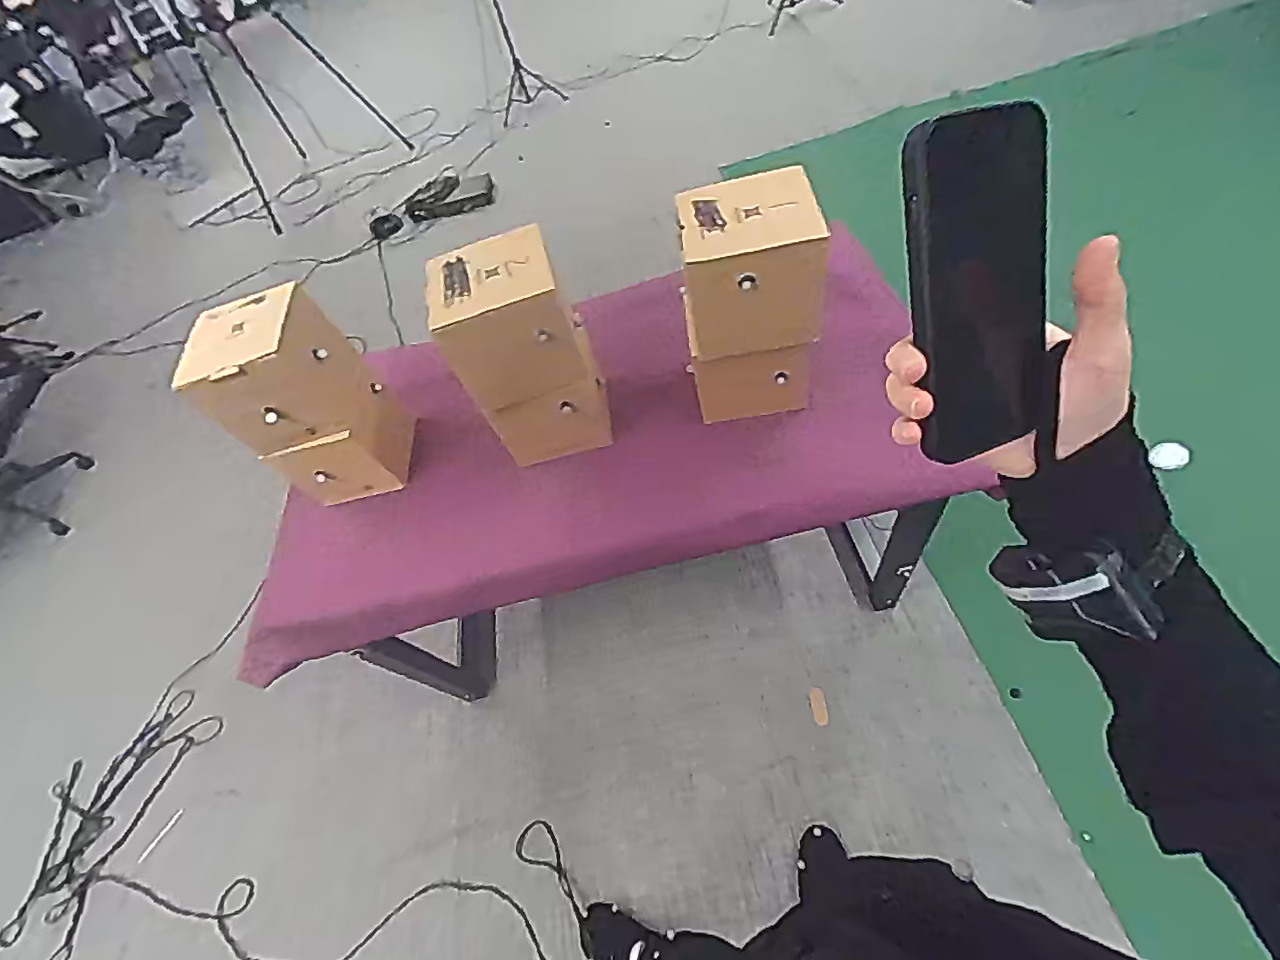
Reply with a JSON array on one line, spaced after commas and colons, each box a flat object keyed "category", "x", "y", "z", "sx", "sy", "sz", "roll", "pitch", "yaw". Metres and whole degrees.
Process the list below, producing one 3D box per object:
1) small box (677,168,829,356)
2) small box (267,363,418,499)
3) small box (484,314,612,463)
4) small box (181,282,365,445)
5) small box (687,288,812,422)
[{"category": "small box", "x": 0.155, "y": -0.295, "z": 0.757, "sx": 0.179, "sy": 0.176, "sz": 0.168, "roll": -8, "pitch": 56, "yaw": 9}, {"category": "small box", "x": -0.533, "y": -0.081, "z": 0.997, "sx": 0.168, "sy": 0.176, "sz": 0.179, "roll": -13, "pitch": 55, "yaw": 6}, {"category": "small box", "x": -0.152, "y": -0.153, "z": 0.943, "sx": 0.179, "sy": 0.176, "sz": 0.168, "roll": -13, "pitch": 55, "yaw": 6}, {"category": "small box", "x": -0.569, "y": -0.176, "z": 0.867, "sx": 0.168, "sy": 0.176, "sz": 0.179, "roll": -17, "pitch": 56, "yaw": 3}, {"category": "small box", "x": 0.180, "y": -0.218, "z": 0.901, "sx": 0.179, "sy": 0.176, "sz": 0.168, "roll": -8, "pitch": 56, "yaw": 10}]
